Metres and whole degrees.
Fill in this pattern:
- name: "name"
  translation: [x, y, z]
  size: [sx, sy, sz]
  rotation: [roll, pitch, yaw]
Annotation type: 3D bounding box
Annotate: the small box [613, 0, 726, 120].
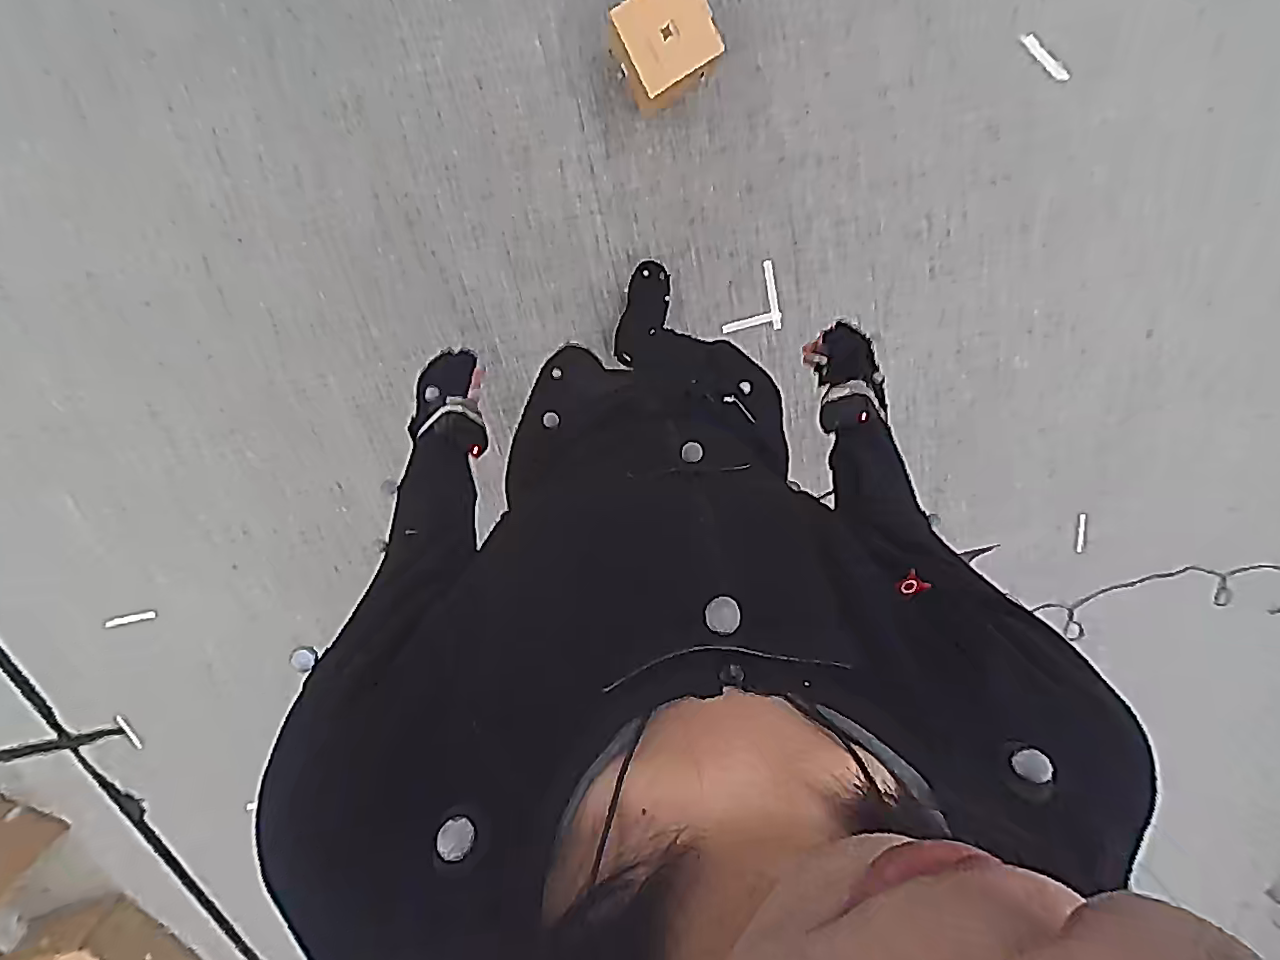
- name: "small box"
  translation: [0.053, -0.901, 1.132]
  size: [0.179, 0.176, 0.168]
  rotation: [-30, 109, 8]
